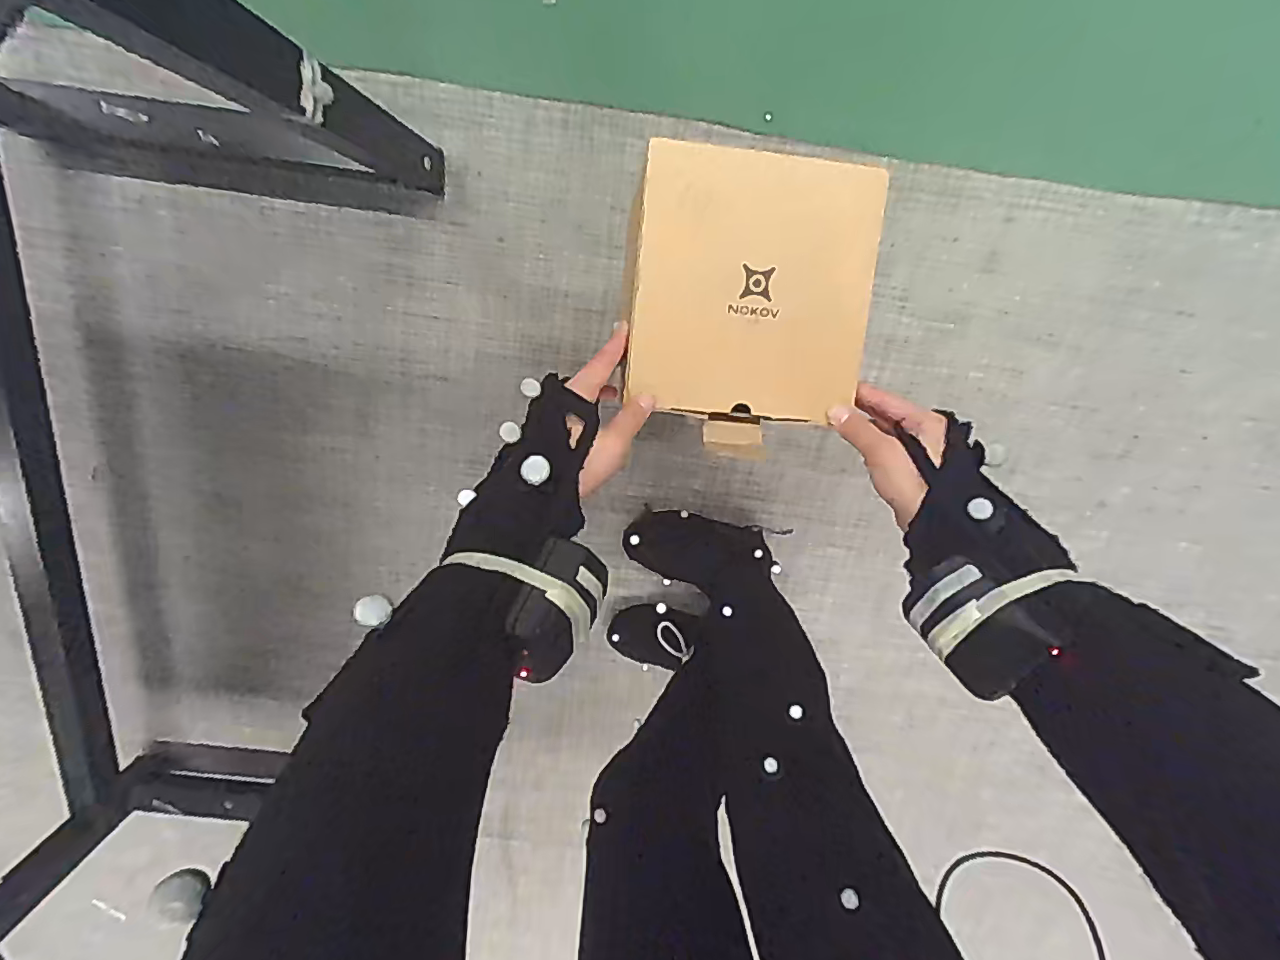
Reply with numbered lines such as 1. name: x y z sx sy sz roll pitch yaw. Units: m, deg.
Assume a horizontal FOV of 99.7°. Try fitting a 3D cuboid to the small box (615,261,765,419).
1. small box: 0.062 -0.194 0.746 0.168 0.176 0.179 7 107 0
